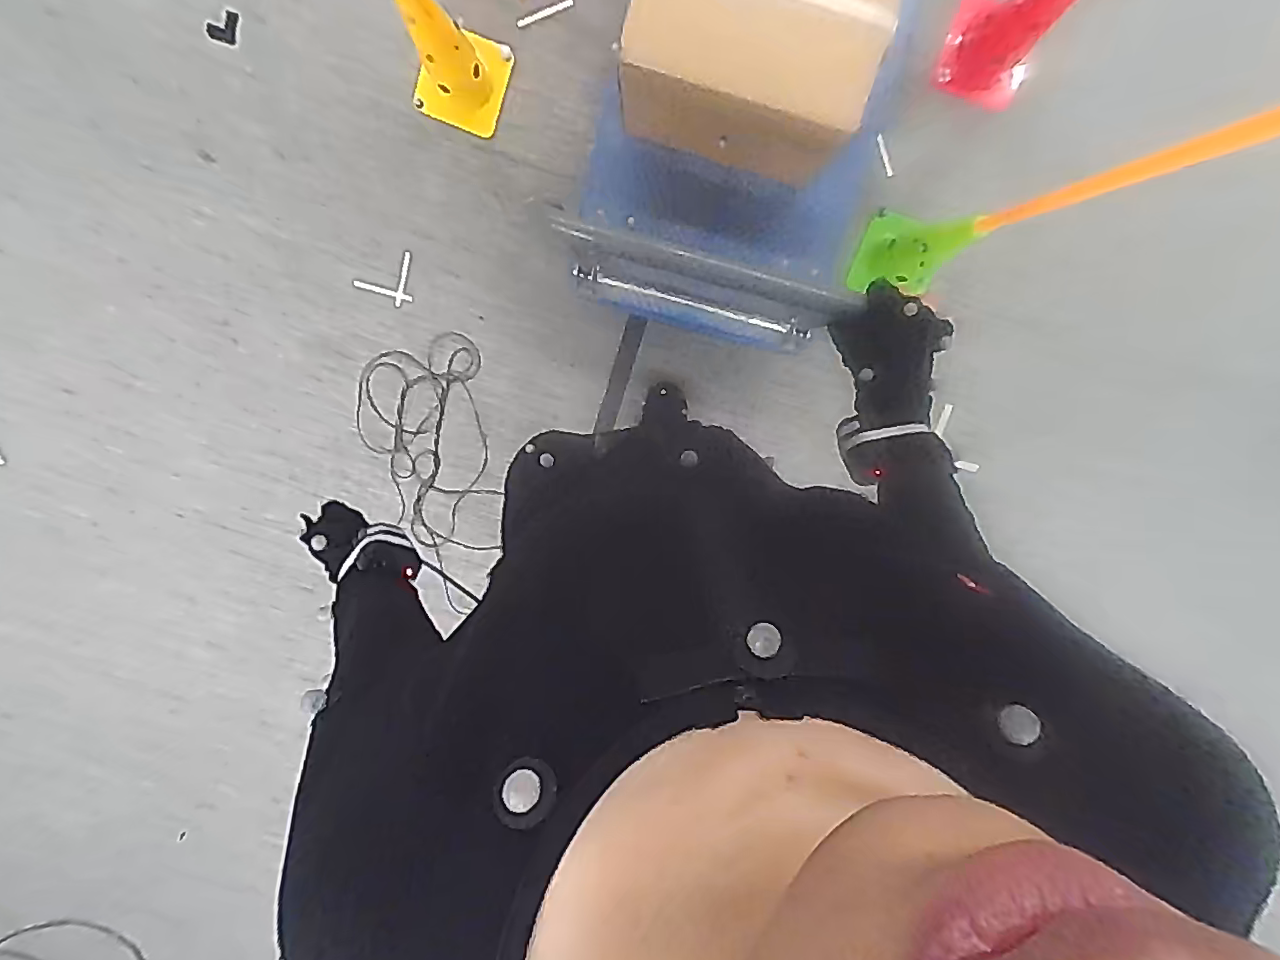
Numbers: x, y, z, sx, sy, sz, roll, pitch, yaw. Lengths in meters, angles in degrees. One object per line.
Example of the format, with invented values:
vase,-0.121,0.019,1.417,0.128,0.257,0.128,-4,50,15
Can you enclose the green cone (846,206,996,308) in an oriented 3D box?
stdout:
green cone,0.640,-0.518,1.185,0.202,0.368,0.200,20,102,-5

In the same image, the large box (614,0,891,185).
large box,0.192,-0.787,0.983,0.408,0.320,0.320,15,103,-2

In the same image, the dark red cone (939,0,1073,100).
dark red cone,0.802,-0.960,1.068,0.201,0.394,0.202,16,102,-5
